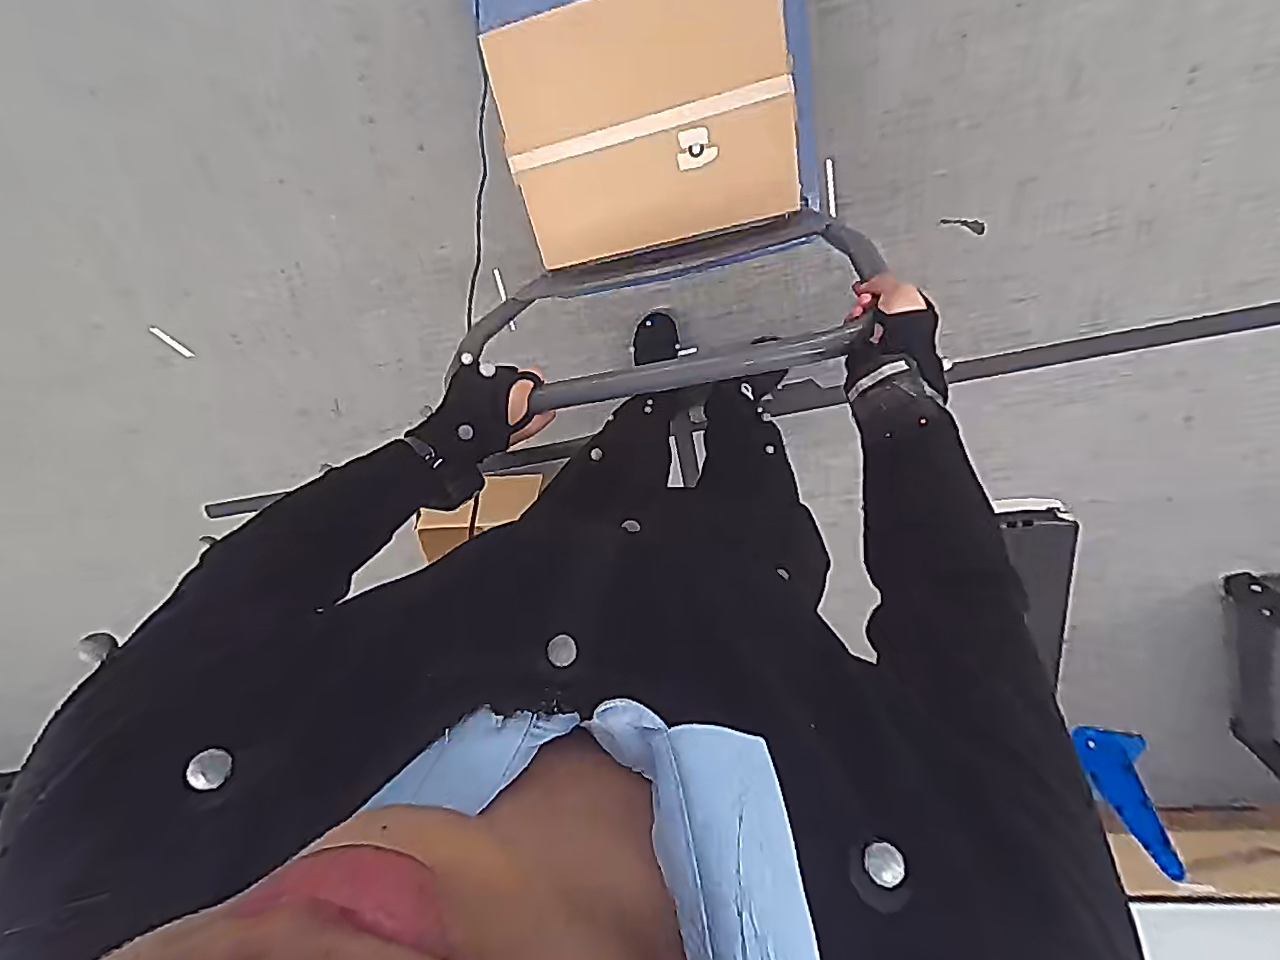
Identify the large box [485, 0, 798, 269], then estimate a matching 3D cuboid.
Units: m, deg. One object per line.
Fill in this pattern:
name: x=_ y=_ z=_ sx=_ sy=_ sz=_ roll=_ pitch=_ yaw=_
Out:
large box: x=0.022 y=-0.578 z=0.905 sx=0.408 sy=0.320 sz=0.320 roll=-9 pitch=118 yaw=11
